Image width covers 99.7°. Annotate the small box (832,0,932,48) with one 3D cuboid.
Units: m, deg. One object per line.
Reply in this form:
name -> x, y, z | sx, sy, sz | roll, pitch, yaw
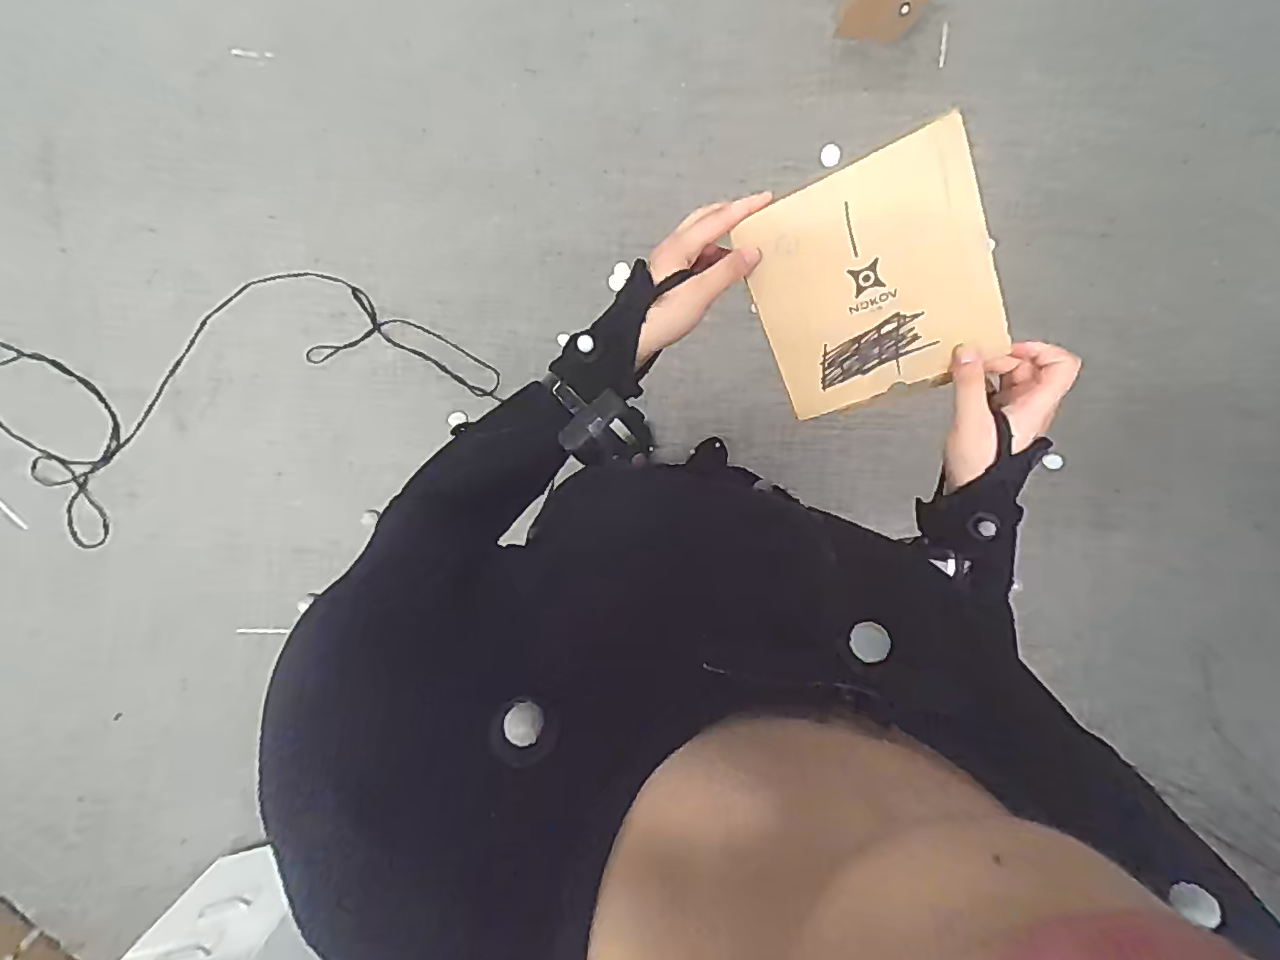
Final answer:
small box -> 0.587, -1.183, 1.294 | 0.179, 0.176, 0.168 | 8, 95, -1
